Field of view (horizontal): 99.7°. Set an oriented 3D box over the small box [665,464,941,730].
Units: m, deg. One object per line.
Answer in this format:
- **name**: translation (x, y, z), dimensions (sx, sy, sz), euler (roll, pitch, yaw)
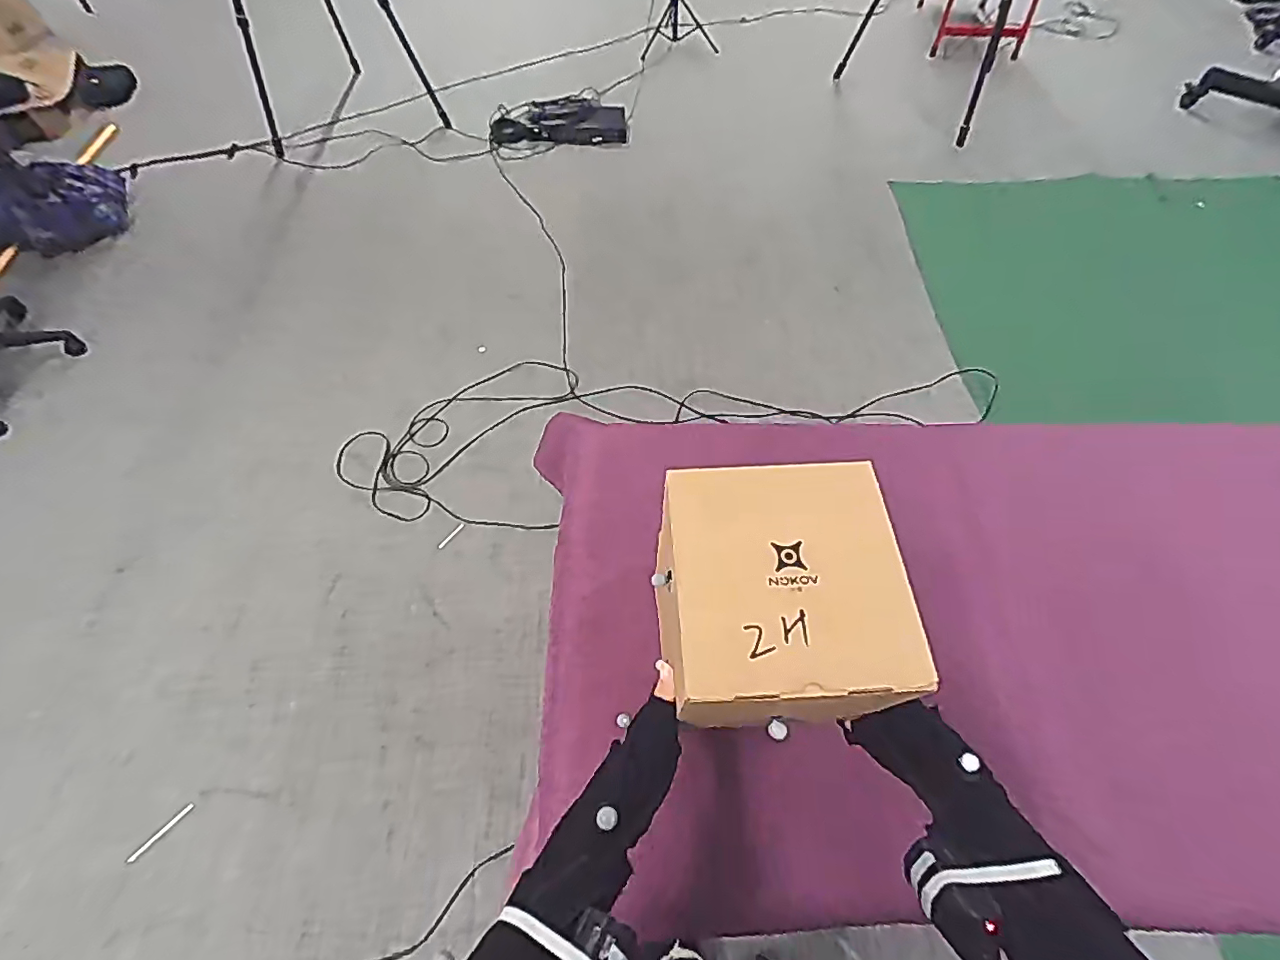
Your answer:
- **small box**: translation (0.110, 0.105, 0.457), dimensions (0.168, 0.176, 0.179), euler (-3, 60, -1)
